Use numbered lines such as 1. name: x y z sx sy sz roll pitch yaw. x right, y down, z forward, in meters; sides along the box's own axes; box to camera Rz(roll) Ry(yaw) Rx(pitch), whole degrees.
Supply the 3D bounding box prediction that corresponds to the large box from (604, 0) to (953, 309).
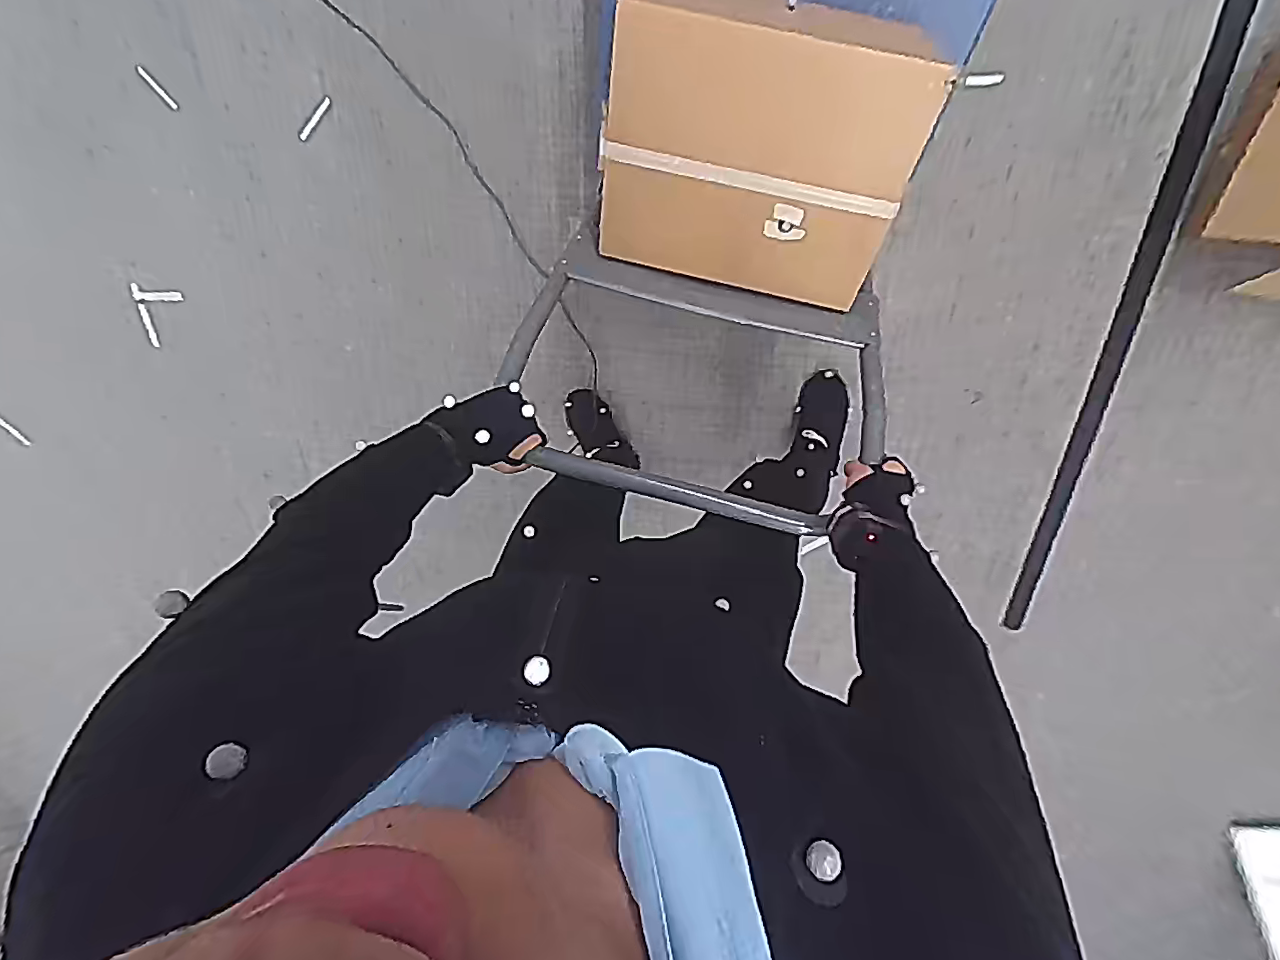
1. large box: 0.179 -0.517 0.842 0.408 0.320 0.320 14 139 2
